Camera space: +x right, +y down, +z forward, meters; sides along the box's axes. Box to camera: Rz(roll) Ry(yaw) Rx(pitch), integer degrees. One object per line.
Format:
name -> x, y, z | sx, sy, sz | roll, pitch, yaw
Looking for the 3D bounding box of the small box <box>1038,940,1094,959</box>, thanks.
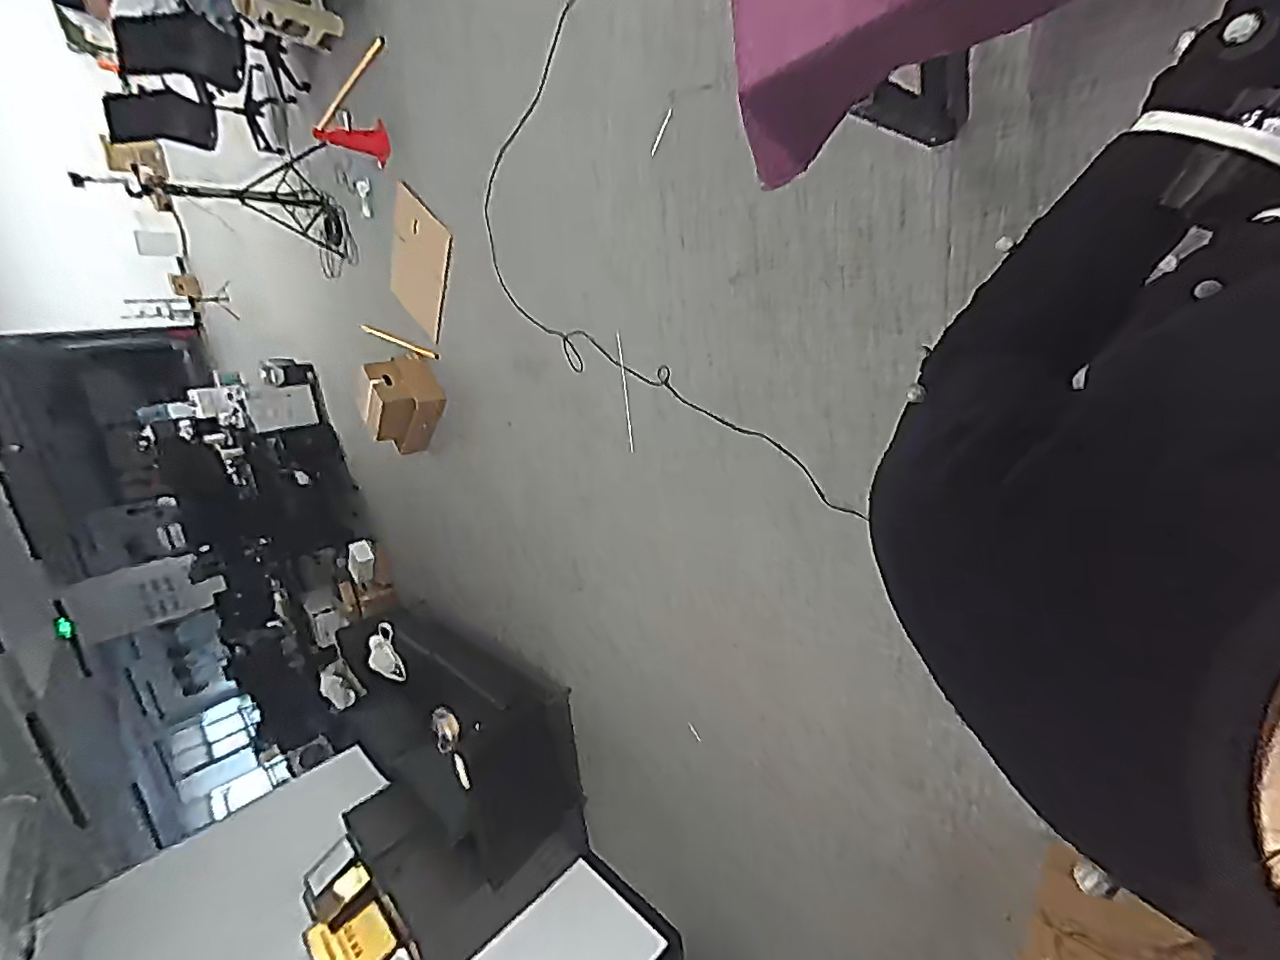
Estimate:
small box -> 0.925, 1.123, 1.128 | 0.179, 0.176, 0.168 | 10, 113, 45
